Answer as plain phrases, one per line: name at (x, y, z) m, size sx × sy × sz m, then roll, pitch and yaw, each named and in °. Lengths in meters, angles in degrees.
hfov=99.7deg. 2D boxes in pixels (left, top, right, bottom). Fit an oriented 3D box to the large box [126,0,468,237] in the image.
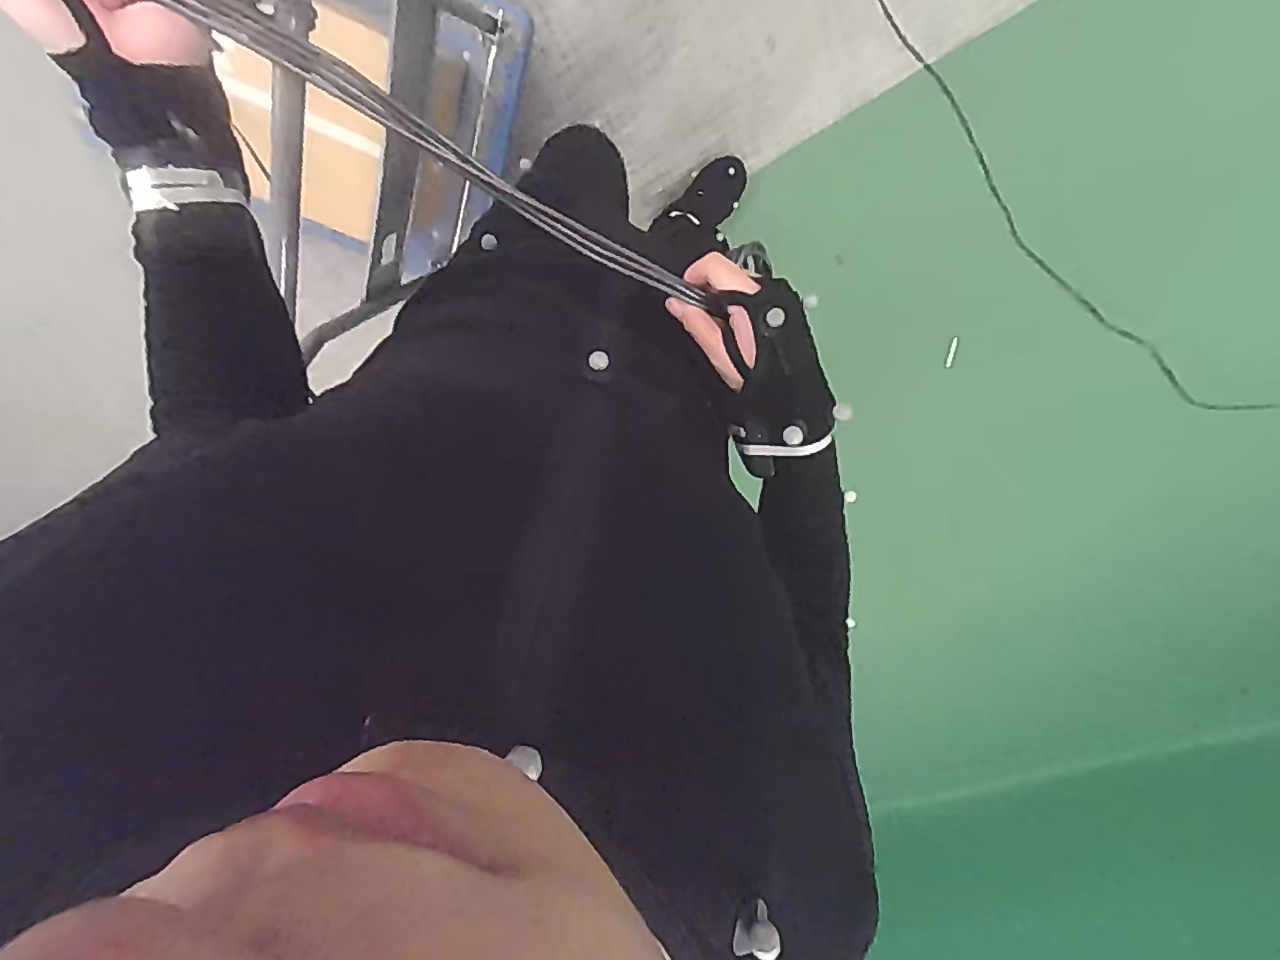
large box at (-0.573, -0.693, 0.969) m, size 0.408 × 0.320 × 0.320 m, roll 21°, pitch 123°, yaw -10°
